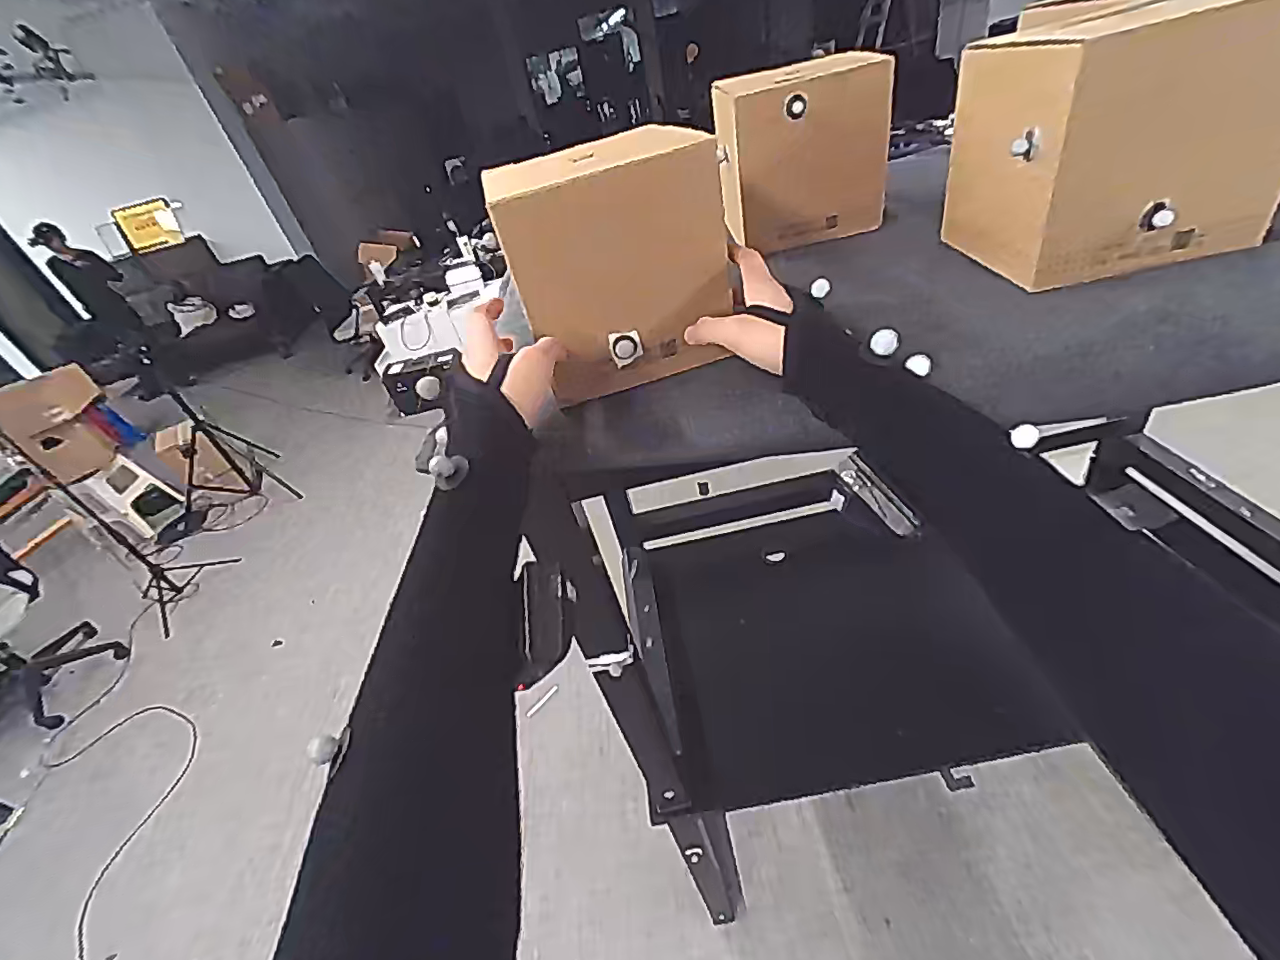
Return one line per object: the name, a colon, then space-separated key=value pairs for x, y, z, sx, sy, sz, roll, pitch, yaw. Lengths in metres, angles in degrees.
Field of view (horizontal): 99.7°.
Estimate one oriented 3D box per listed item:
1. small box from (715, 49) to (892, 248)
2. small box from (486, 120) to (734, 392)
small box: x=0.191 y=-0.405 z=0.668 sx=0.168 sy=0.176 sz=0.179 roll=-11 pitch=38 yaw=7
small box: x=-0.028 y=-0.201 z=0.481 sx=0.168 sy=0.176 sz=0.179 roll=-19 pitch=37 yaw=-4
